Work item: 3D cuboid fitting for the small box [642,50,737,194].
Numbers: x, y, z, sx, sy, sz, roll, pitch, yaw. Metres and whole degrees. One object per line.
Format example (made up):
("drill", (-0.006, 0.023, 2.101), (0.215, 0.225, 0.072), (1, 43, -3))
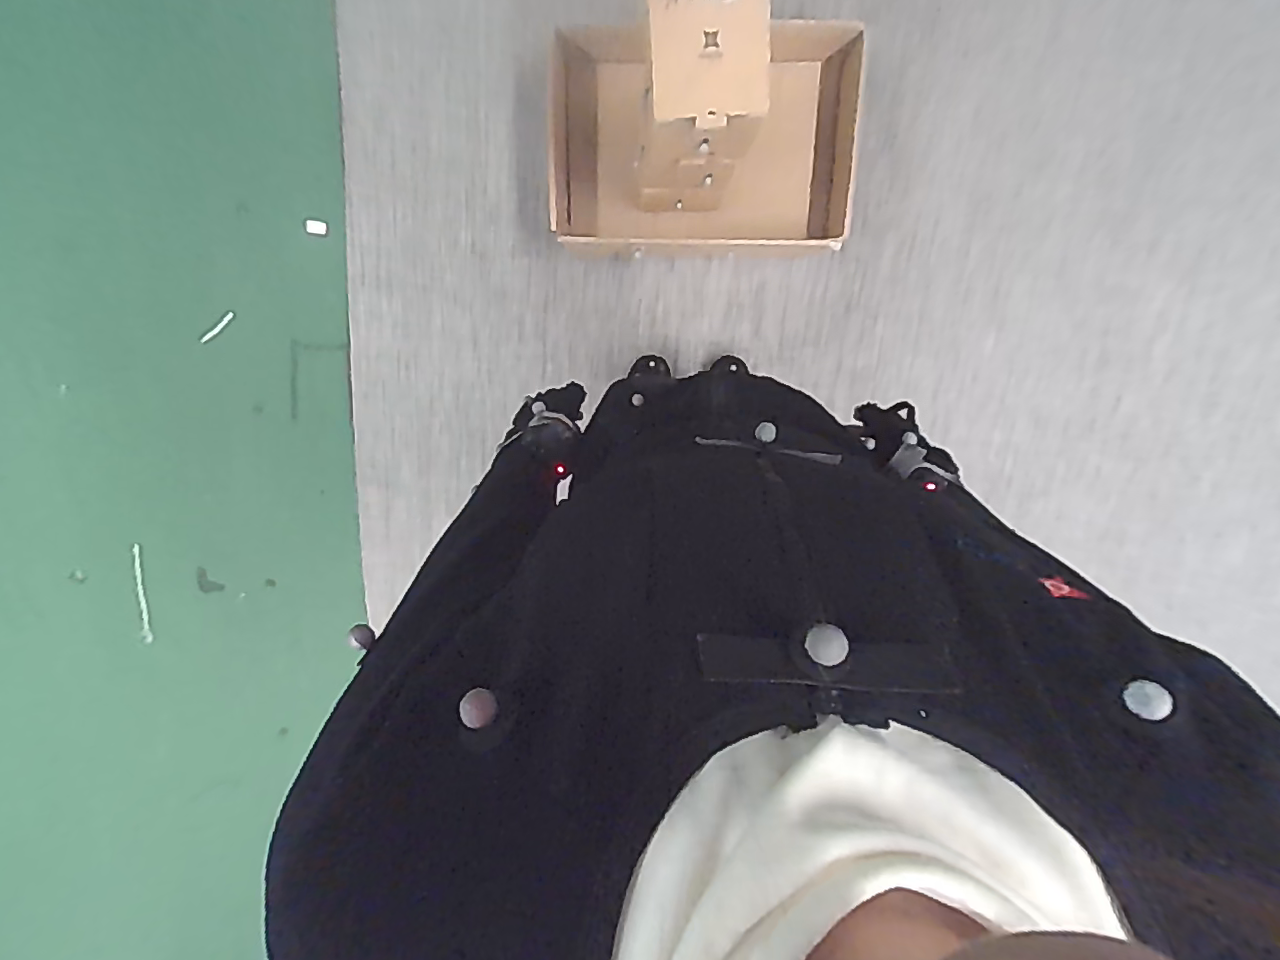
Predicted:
("small box", (0.089, -0.640, 0.987), (0.168, 0.176, 0.179), (1, 102, -1))

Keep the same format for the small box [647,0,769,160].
("small box", (0.096, -0.607, 0.827), (0.168, 0.176, 0.179), (-1, 104, 0))

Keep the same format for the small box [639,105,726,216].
("small box", (0.088, -0.668, 1.145), (0.179, 0.176, 0.168), (1, 103, 2))
